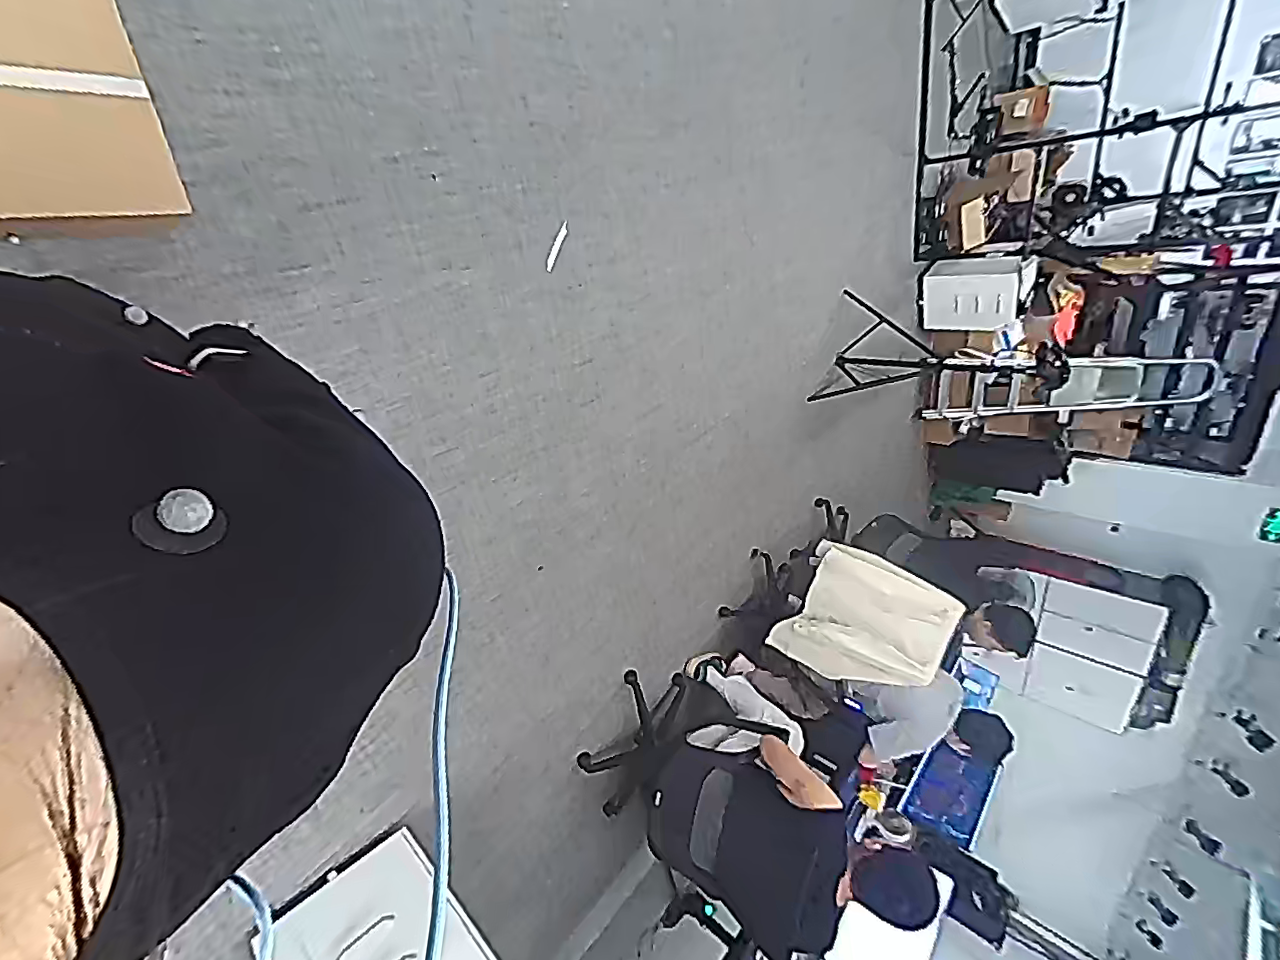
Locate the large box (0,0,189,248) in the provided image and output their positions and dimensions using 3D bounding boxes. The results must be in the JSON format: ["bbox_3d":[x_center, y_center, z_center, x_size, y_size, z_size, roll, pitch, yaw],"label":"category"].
[{"bbox_3d":[-0.942,-0.495,0.734,0.408,0.320,0.320,-27,121,-40],"label":"large box"}]
